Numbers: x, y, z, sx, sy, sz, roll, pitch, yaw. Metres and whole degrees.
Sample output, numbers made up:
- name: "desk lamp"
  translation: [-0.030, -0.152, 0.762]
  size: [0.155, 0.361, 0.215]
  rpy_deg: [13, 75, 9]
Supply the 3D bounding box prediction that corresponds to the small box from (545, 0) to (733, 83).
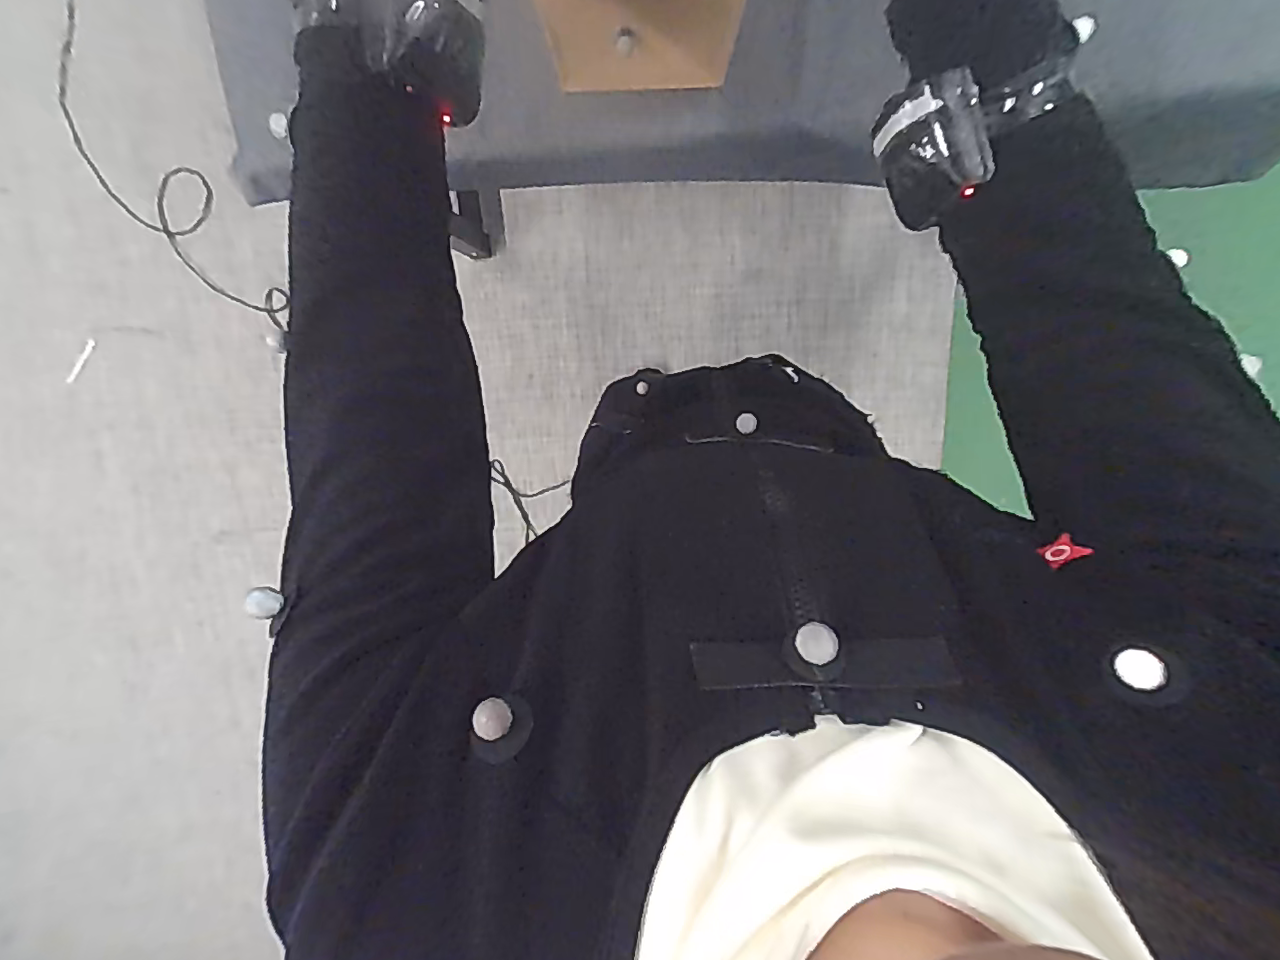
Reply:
- name: "small box"
  translation: [-0.001, -0.499, 0.499]
  size: [0.179, 0.176, 0.168]
  rpy_deg: [-1, 102, 1]
